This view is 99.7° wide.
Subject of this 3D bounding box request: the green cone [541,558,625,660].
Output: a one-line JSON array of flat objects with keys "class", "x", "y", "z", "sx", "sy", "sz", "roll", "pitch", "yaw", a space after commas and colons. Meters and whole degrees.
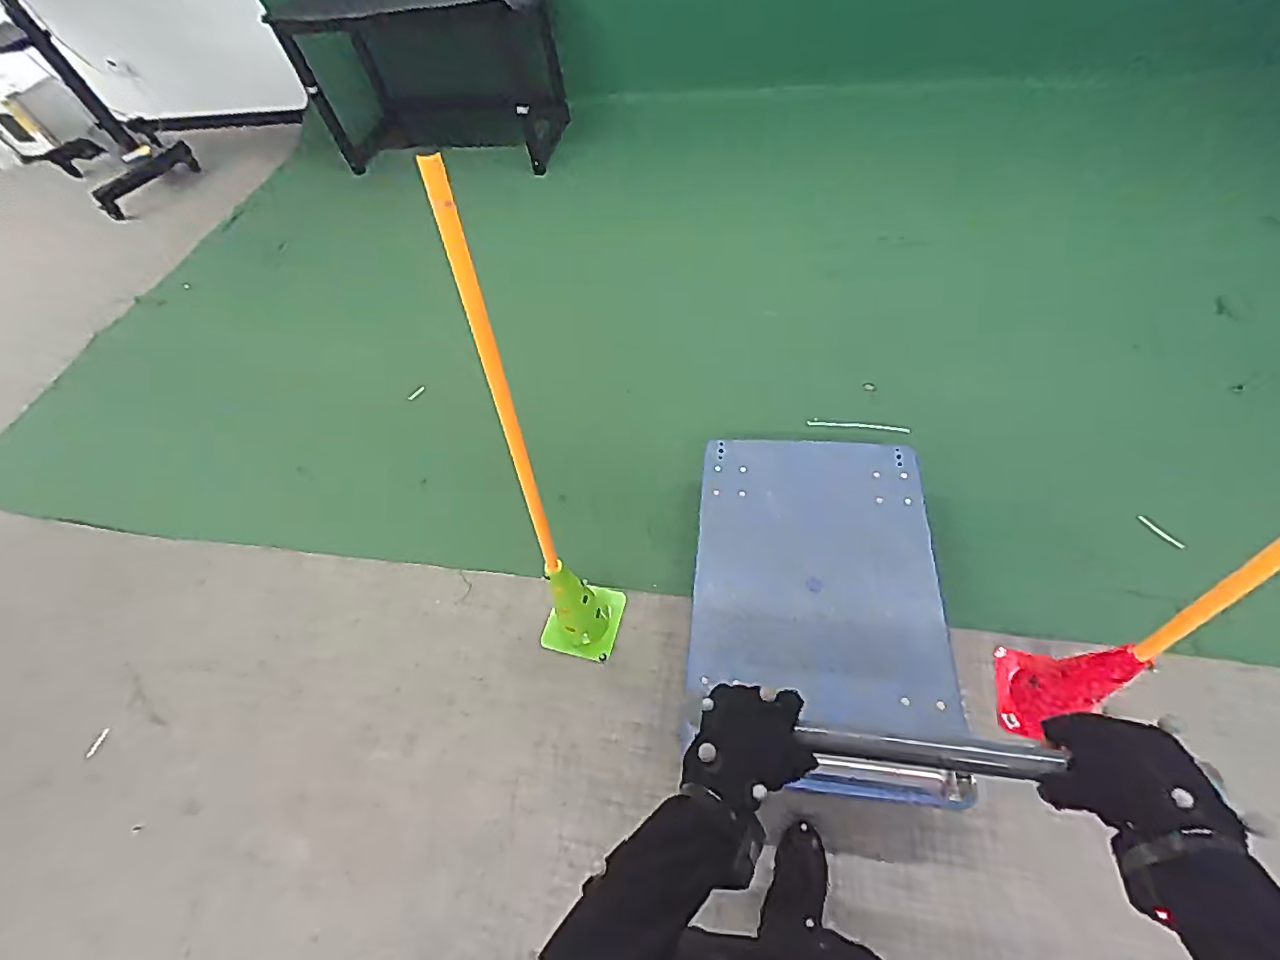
[{"class": "green cone", "x": -0.178, "y": 0.293, "z": 1.374, "sx": 0.202, "sy": 0.368, "sz": 0.200, "roll": 8, "pitch": 57, "yaw": 14}]
